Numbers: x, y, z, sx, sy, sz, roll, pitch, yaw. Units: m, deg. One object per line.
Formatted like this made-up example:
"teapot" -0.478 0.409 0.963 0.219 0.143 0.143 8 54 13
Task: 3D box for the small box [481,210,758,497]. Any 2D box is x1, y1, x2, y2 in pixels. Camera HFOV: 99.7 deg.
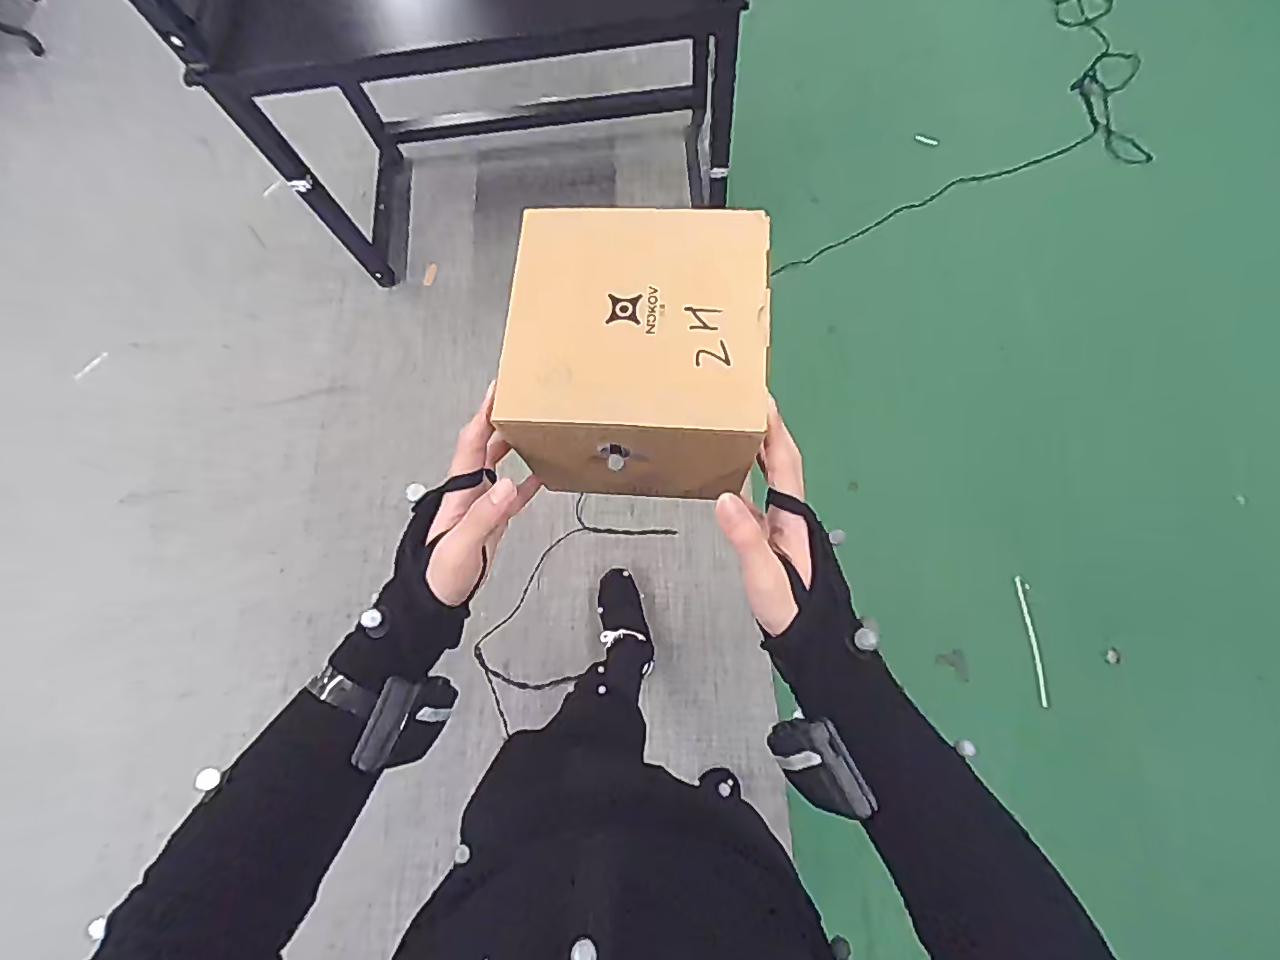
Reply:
"small box" -0.004 -0.087 0.435 0.179 0.176 0.168 3 73 5
